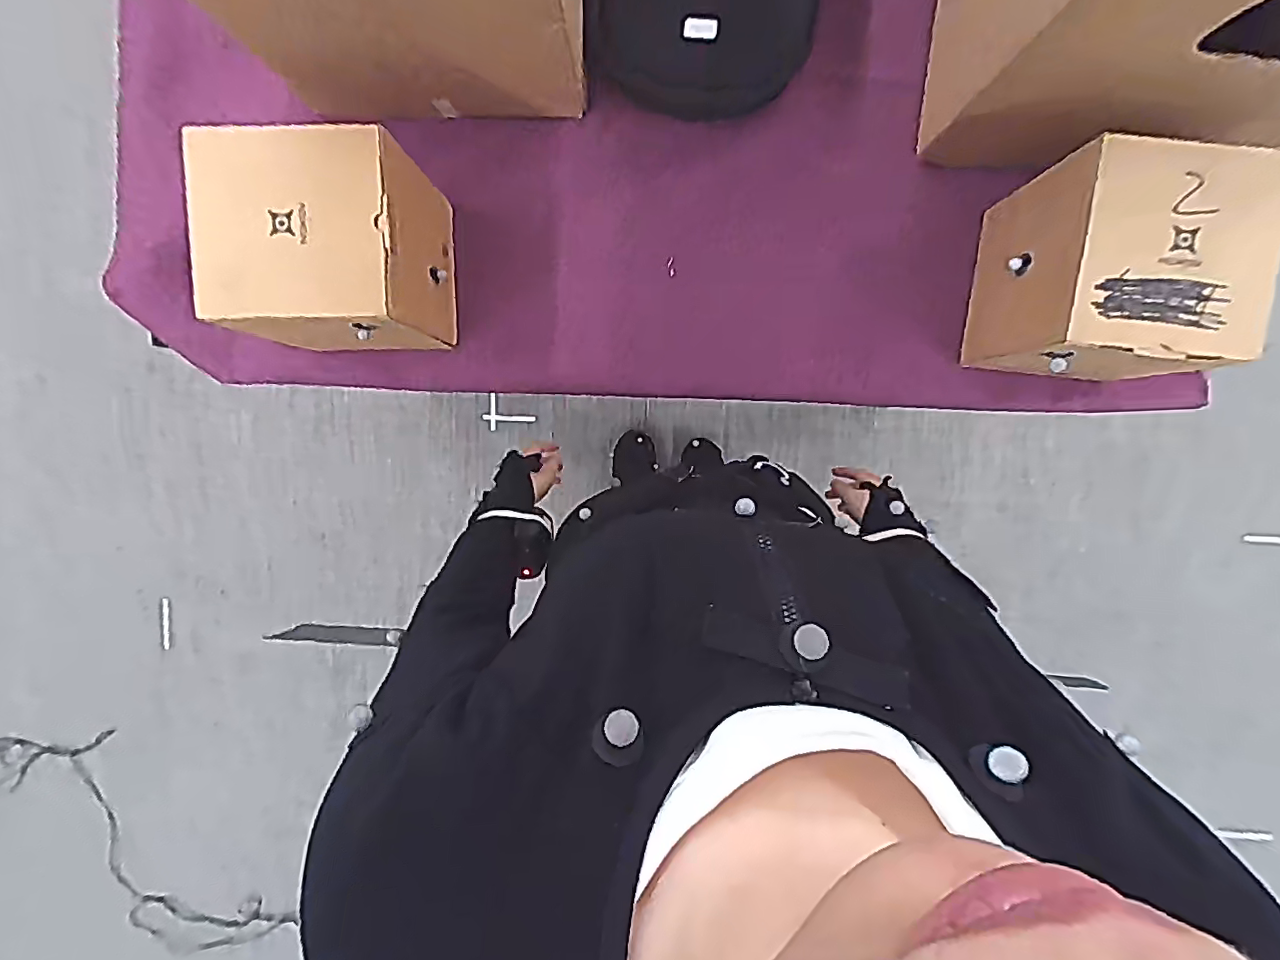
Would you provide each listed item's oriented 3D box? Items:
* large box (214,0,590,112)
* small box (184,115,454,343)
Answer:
[{"bbox_3d":[-0.210,-0.599,0.445,0.320,0.320,0.408,0,98,2],"label":"large box"},{"bbox_3d":[-0.307,-0.237,0.553,0.179,0.176,0.168,-1,95,0],"label":"small box"}]
